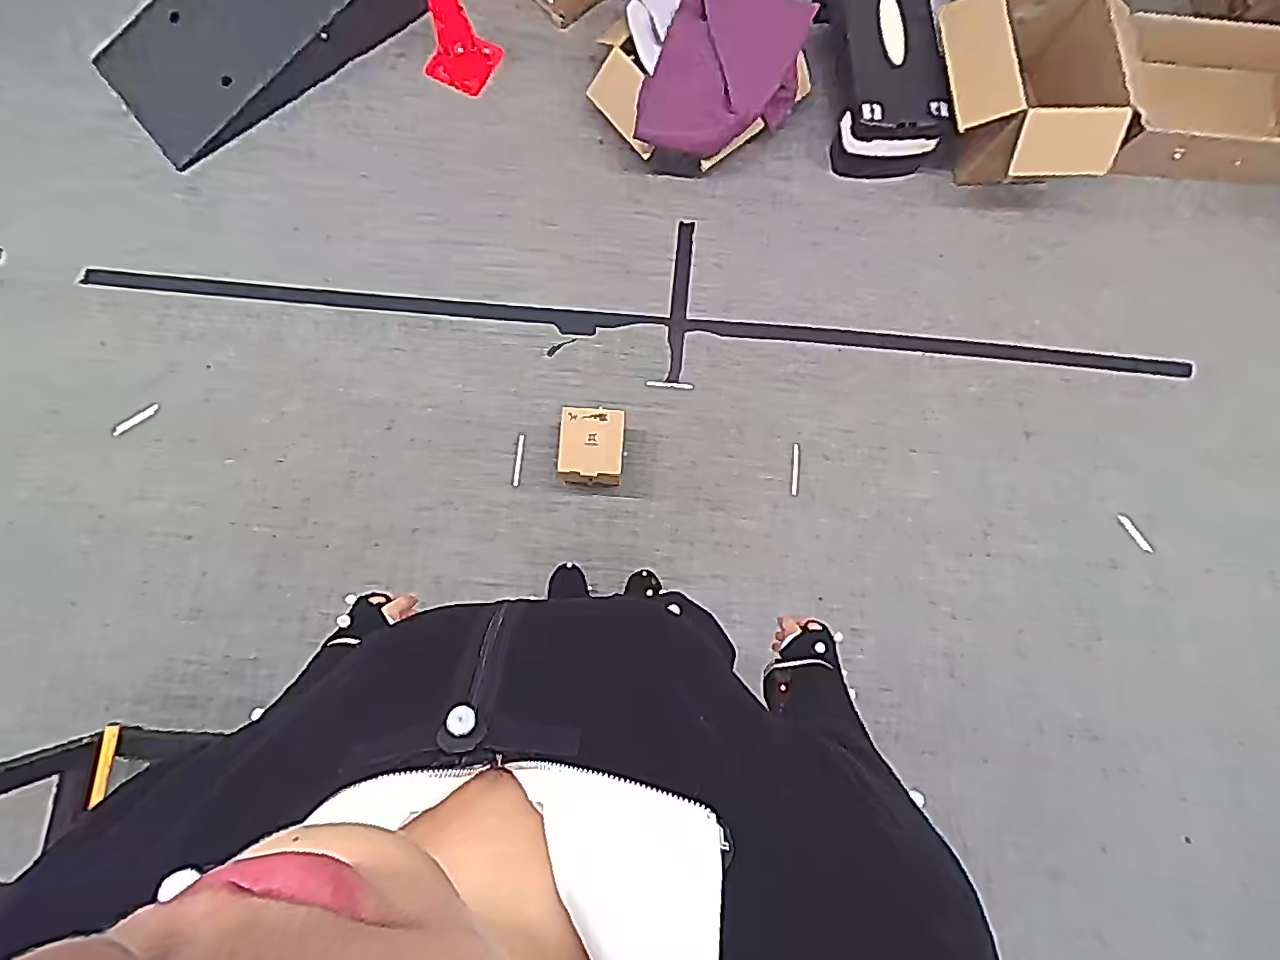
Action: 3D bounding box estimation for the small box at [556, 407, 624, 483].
[{"bbox_3d":[-0.131,-0.089,1.482,0.168,0.176,0.179,4,82,-1],"label":"small box"}]
